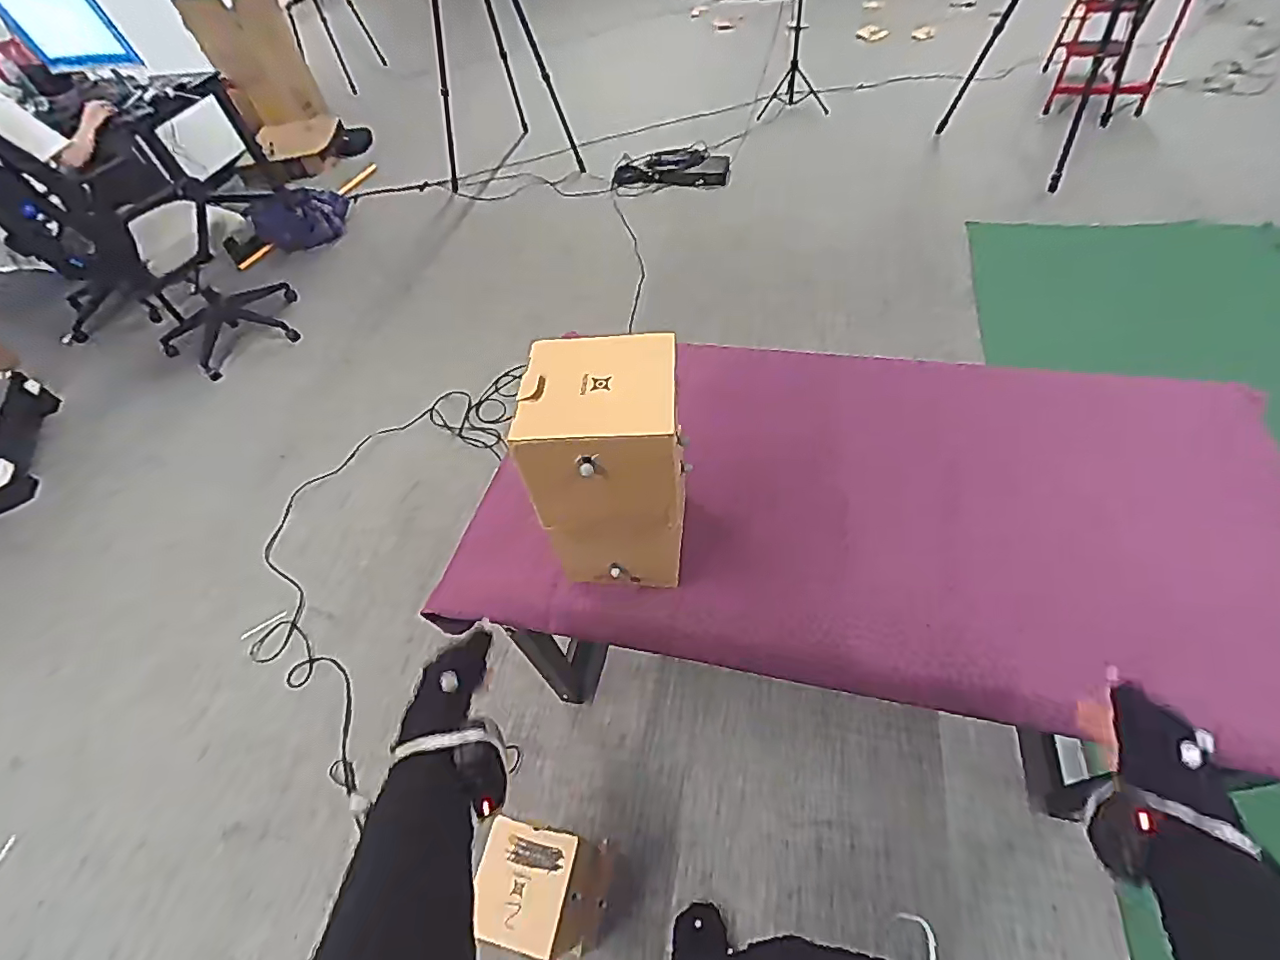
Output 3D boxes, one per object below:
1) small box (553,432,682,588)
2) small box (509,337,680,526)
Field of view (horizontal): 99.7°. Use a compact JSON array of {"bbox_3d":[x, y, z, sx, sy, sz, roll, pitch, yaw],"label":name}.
[{"bbox_3d":[-0.027,0.037,0.799,0.168,0.176,0.179,3,52,9],"label":"small box"},{"bbox_3d":[-0.040,-0.054,0.664,0.179,0.176,0.168,-1,52,6],"label":"small box"}]
